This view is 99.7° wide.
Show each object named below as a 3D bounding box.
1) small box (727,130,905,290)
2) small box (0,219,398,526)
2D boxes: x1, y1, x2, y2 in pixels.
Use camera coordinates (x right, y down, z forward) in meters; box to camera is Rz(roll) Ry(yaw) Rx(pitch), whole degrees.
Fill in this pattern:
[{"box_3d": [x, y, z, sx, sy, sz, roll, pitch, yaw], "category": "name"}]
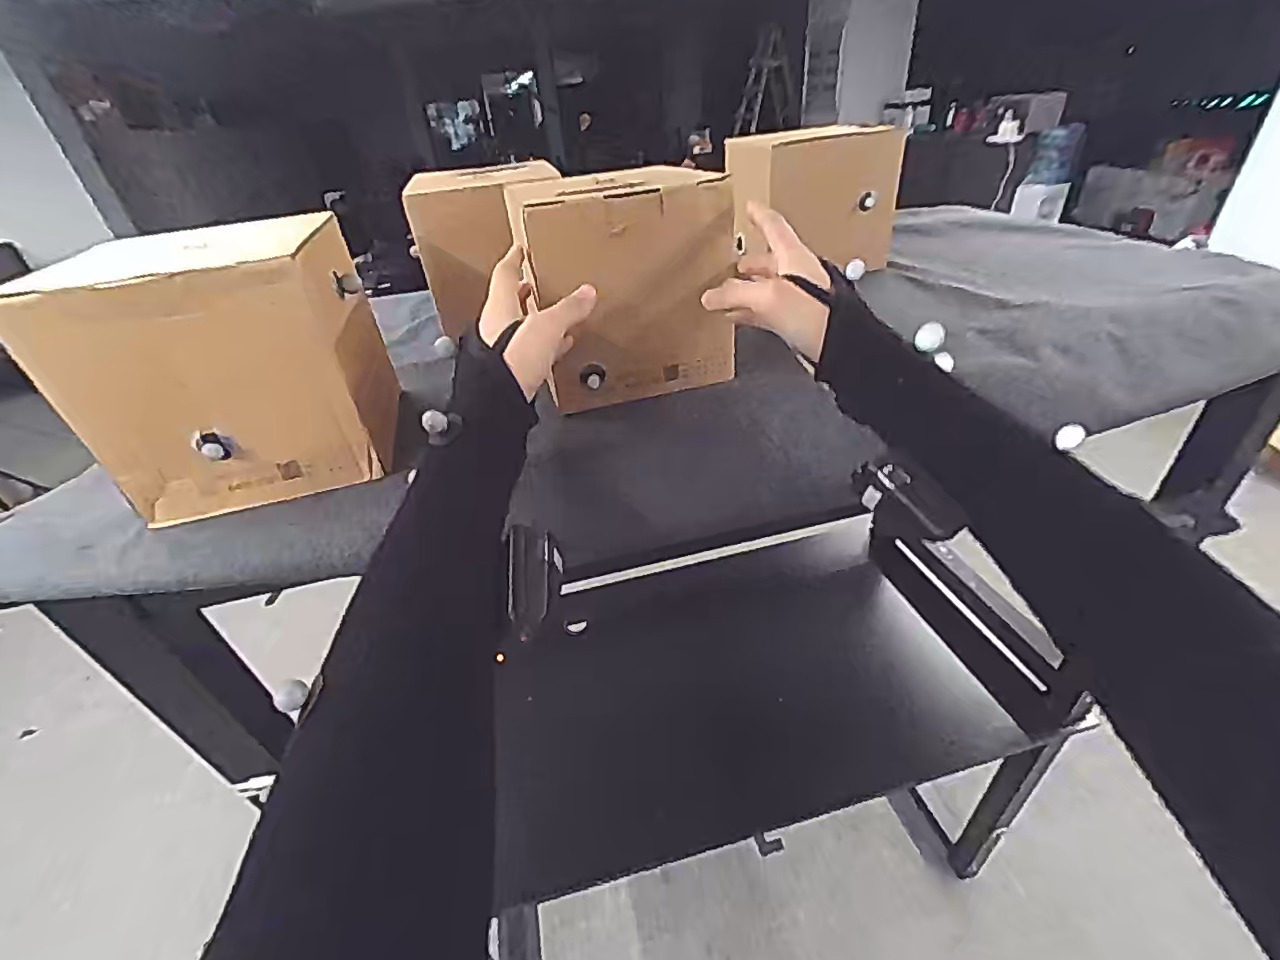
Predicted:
[{"box_3d": [0.227, -0.376, 0.749, 0.179, 0.176, 0.168, -11, 34, -7], "category": "small box"}, {"box_3d": [-0.302, -0.092, 0.422, 0.168, 0.176, 0.179, -14, 36, -12], "category": "small box"}]
